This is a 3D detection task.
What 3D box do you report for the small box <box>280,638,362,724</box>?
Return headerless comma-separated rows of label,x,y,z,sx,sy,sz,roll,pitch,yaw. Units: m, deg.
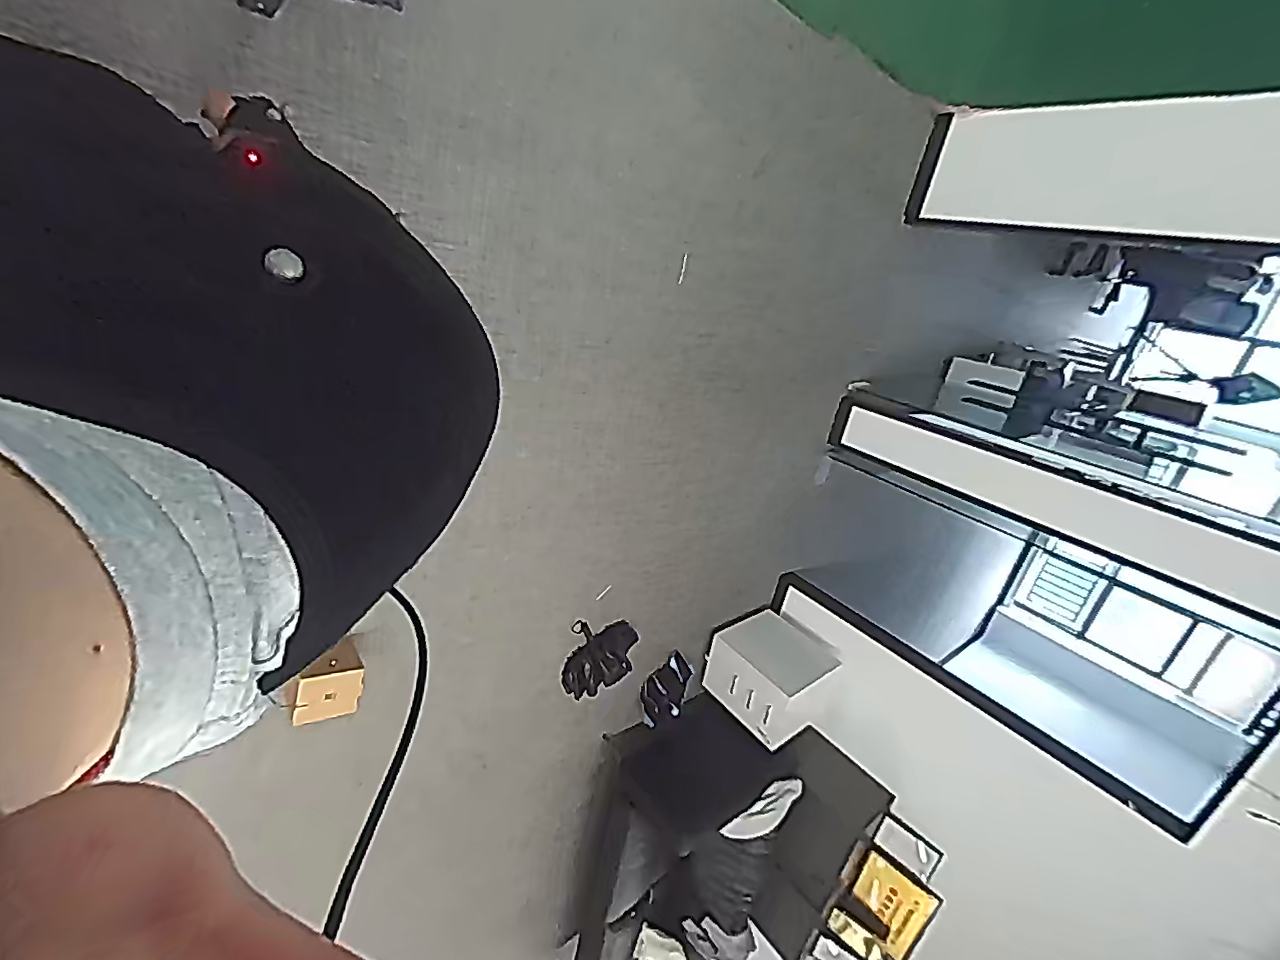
small box,-0.980,0.606,1.659,0.179,0.176,0.168,4,110,-43
